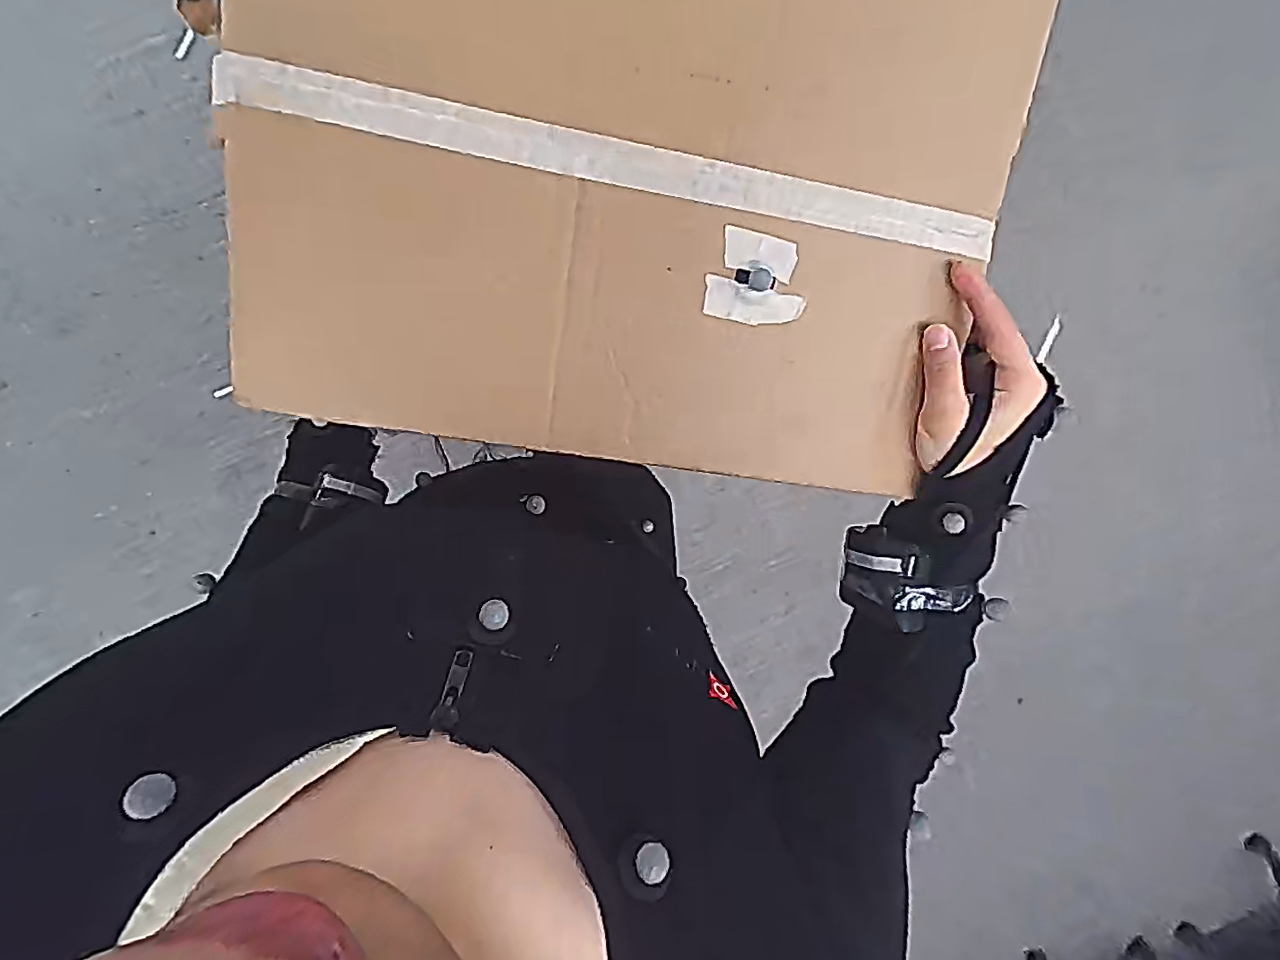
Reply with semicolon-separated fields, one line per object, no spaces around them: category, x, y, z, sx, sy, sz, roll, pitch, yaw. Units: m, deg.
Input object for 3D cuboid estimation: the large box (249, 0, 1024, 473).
large box;-0.018;-0.203;0.439;0.408;0.320;0.320;6;104;-10
